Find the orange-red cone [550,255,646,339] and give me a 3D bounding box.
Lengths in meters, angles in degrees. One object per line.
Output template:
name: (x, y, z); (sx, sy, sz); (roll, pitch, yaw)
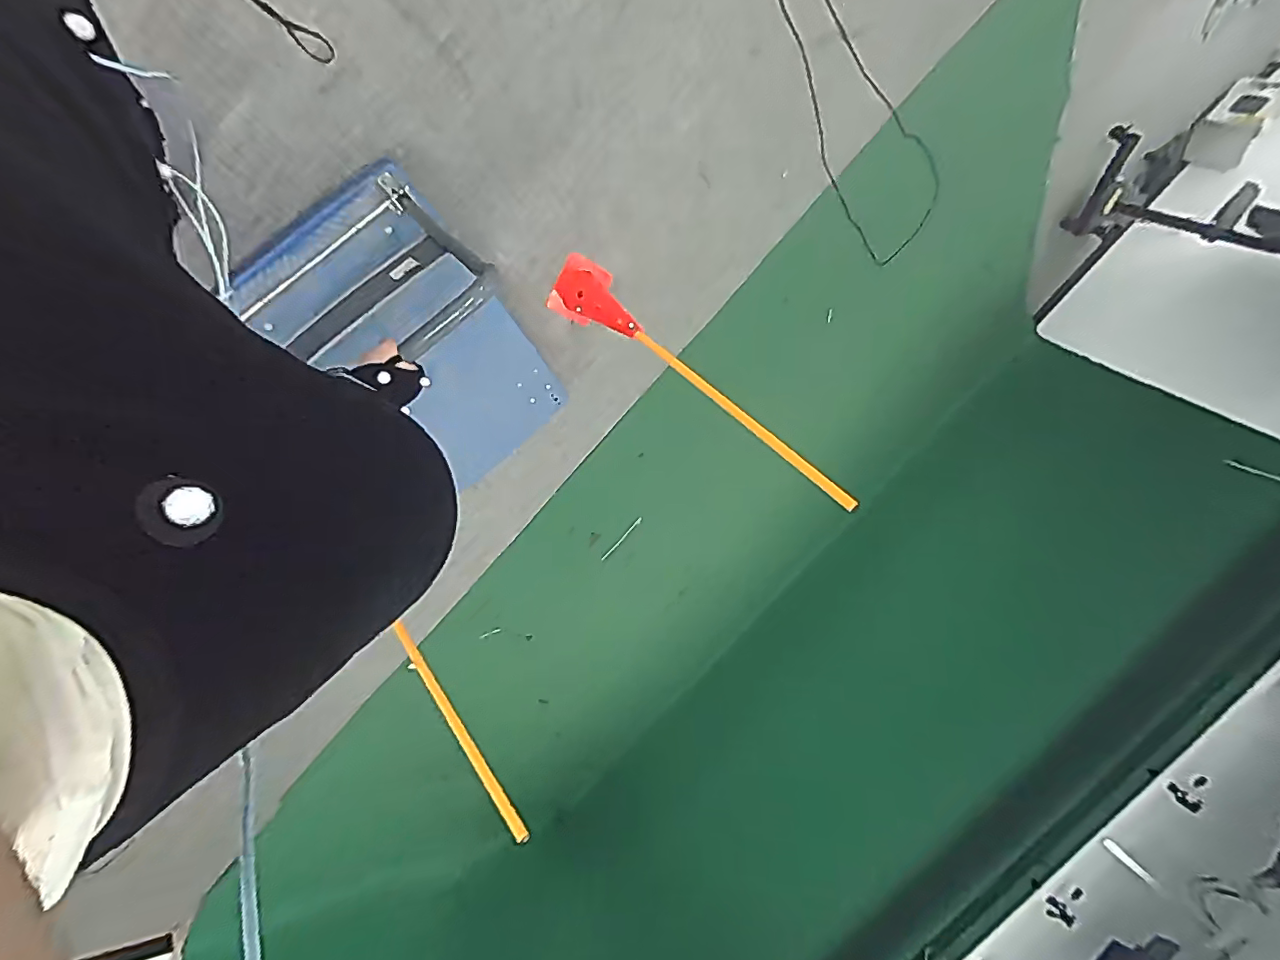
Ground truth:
orange-red cone: (-0.099, -0.547, 1.745); (0.198, 0.360, 0.199); (13, 114, -51)
